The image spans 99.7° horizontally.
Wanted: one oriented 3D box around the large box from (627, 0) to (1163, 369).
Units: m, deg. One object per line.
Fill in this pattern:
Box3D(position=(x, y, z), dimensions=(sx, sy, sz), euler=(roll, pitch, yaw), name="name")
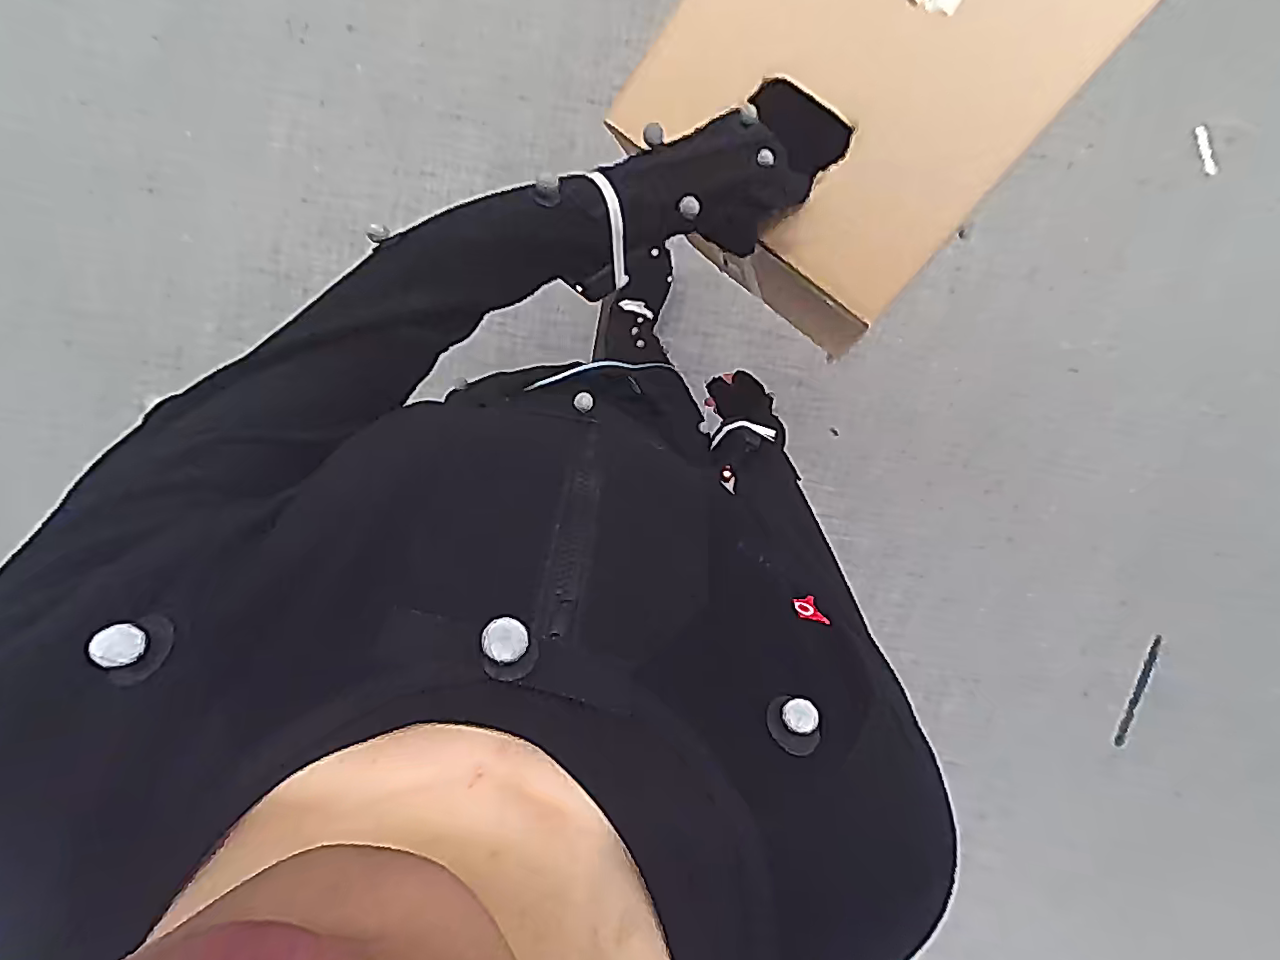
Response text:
Box3D(position=(0.248, -0.360, 0.638), dimensions=(0.320, 0.408, 0.320), euler=(44, 108, 8), name="large box")
